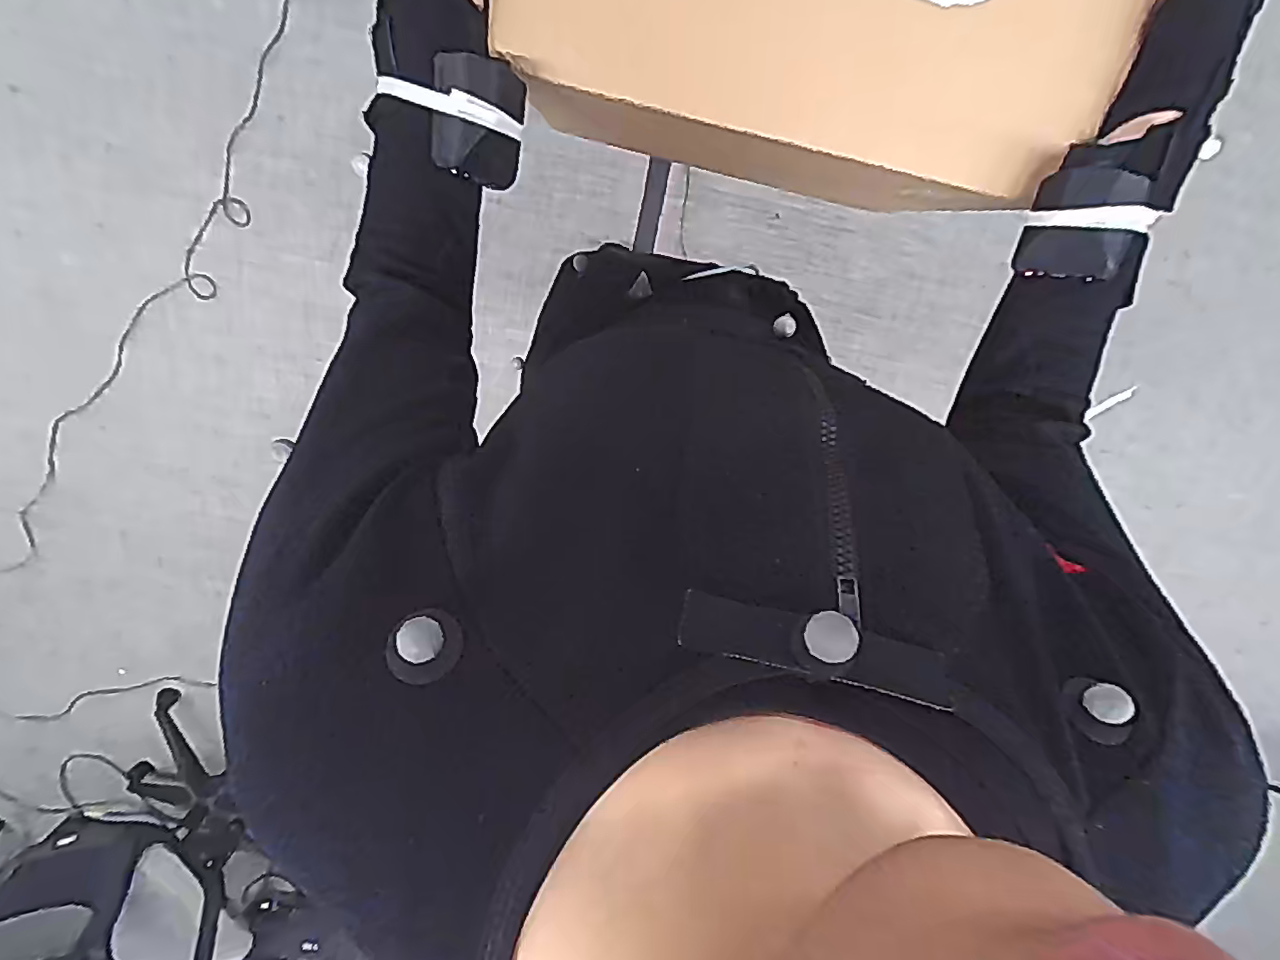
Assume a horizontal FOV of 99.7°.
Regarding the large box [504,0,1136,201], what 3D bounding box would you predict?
[{"bbox_3d":[0.125,-0.440,0.442,0.408,0.320,0.320,10,117,-7],"label":"large box"}]
